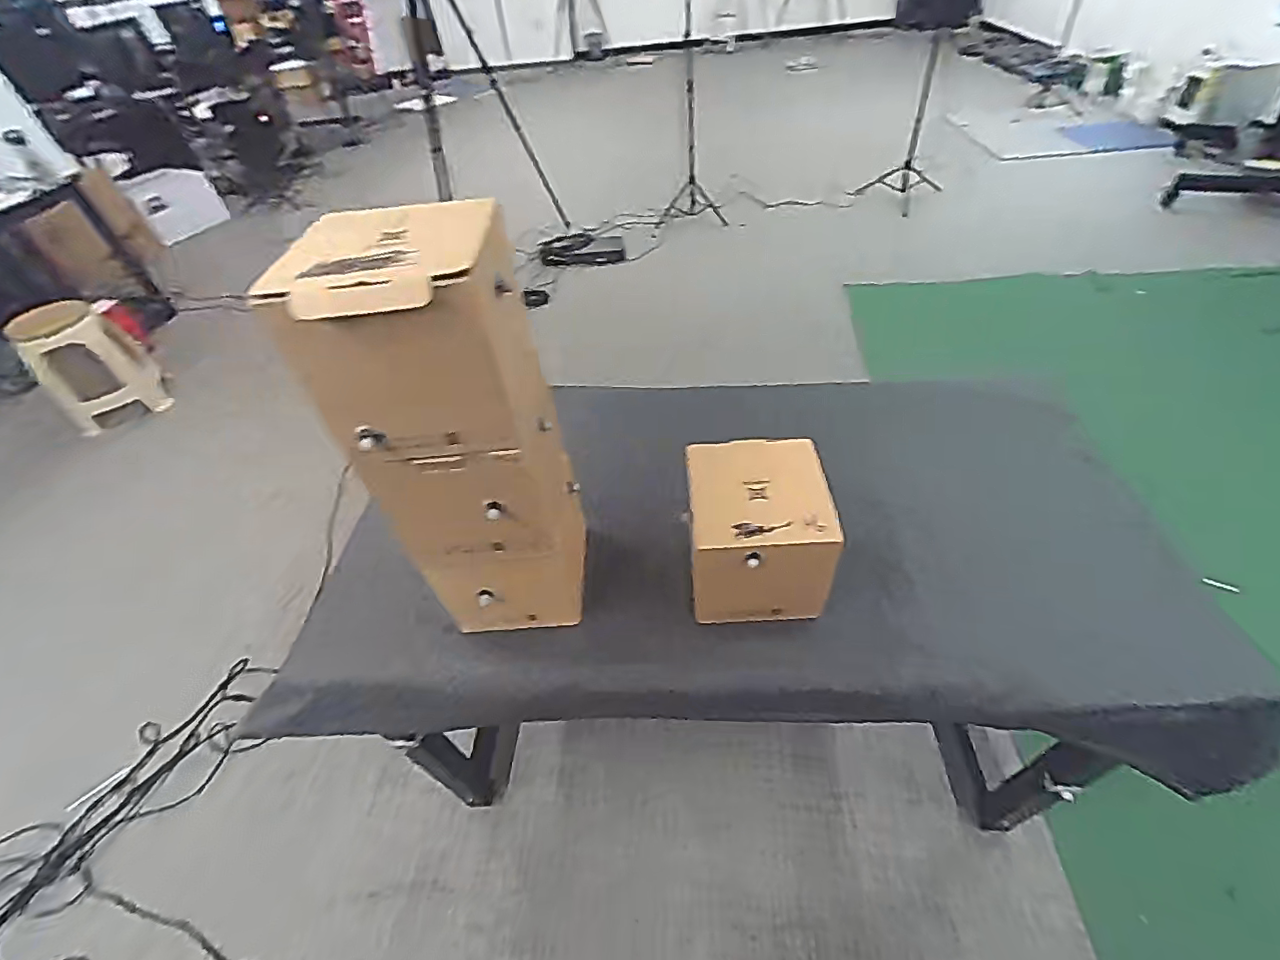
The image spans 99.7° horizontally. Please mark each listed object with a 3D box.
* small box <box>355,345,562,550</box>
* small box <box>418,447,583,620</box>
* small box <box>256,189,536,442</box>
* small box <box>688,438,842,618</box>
[{"bbox_3d":[-0.187,-0.032,0.621,0.168,0.176,0.179,-4,45,1],"label":"small box"},{"bbox_3d":[-0.173,0.079,0.739,0.168,0.176,0.179,-4,46,2],"label":"small box"},{"bbox_3d":[-0.197,-0.148,0.504,0.168,0.176,0.179,-5,45,0],"label":"small box"},{"bbox_3d":[0.150,0.064,0.719,0.168,0.176,0.179,-3,45,3],"label":"small box"}]
